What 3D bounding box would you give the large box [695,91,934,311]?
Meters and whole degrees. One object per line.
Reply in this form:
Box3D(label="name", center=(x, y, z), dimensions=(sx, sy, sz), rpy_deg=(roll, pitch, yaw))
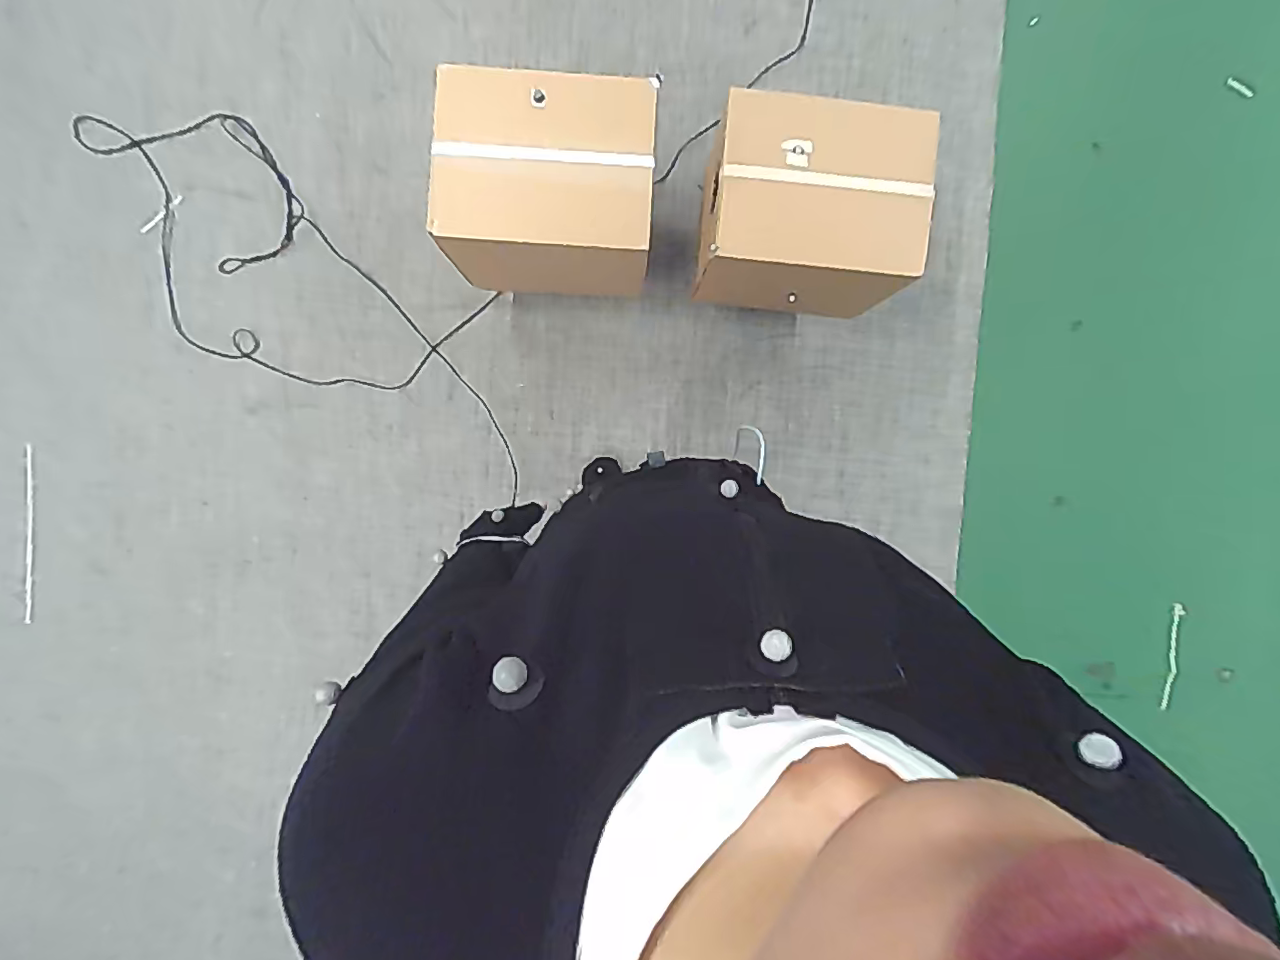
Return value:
Box3D(label="large box", center=(0.349, -0.572, 1.175), dimensions=(0.408, 0.320, 0.320), rpy_deg=(5, 92, -2))
